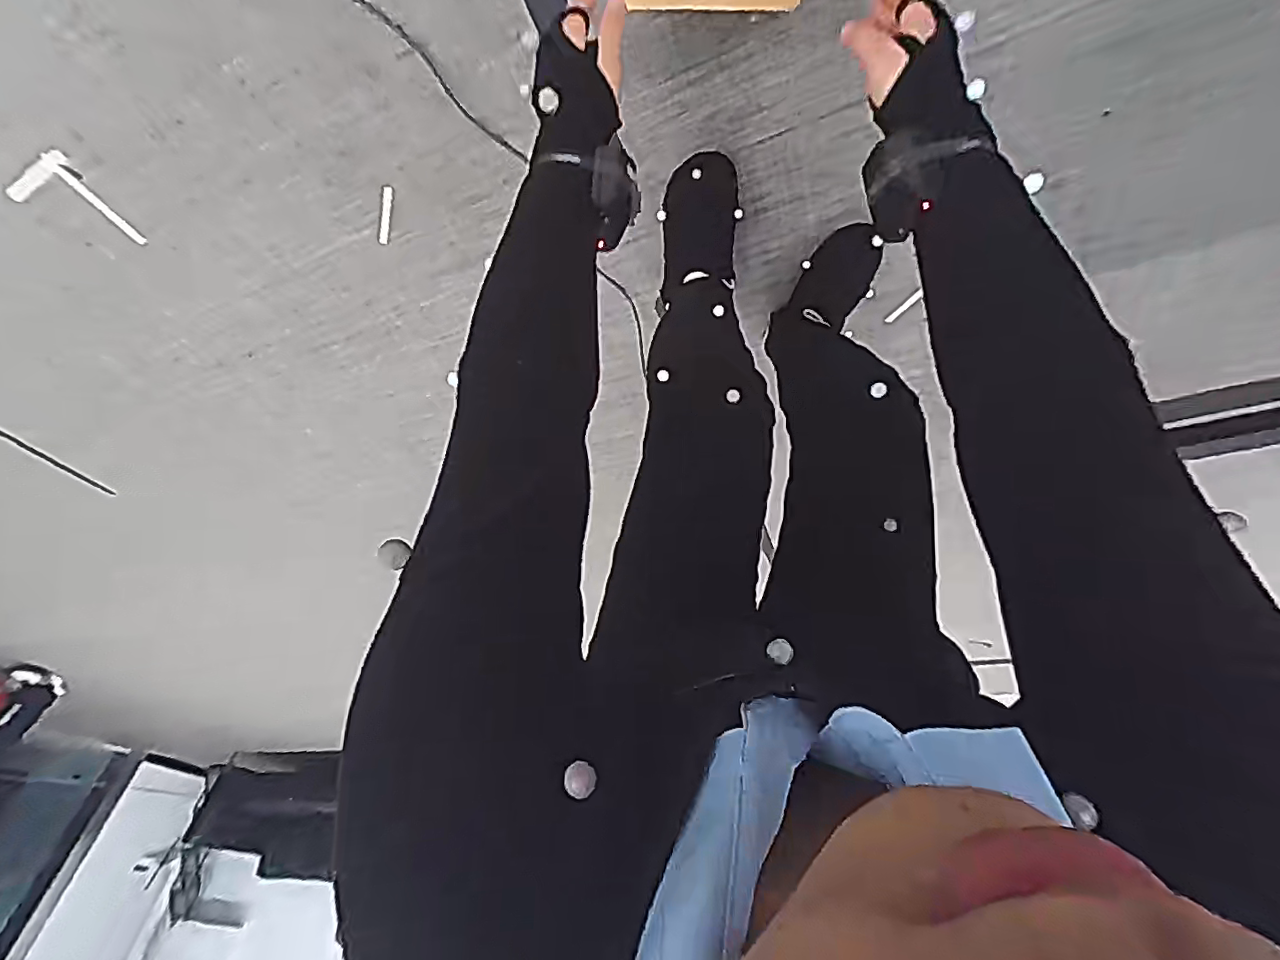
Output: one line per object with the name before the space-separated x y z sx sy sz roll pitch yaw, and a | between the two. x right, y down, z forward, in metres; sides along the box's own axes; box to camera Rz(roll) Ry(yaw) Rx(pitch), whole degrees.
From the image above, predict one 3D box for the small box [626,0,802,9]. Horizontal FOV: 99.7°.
small box | 0.079 -0.579 0.522 0.179 0.176 0.168 3 141 4
